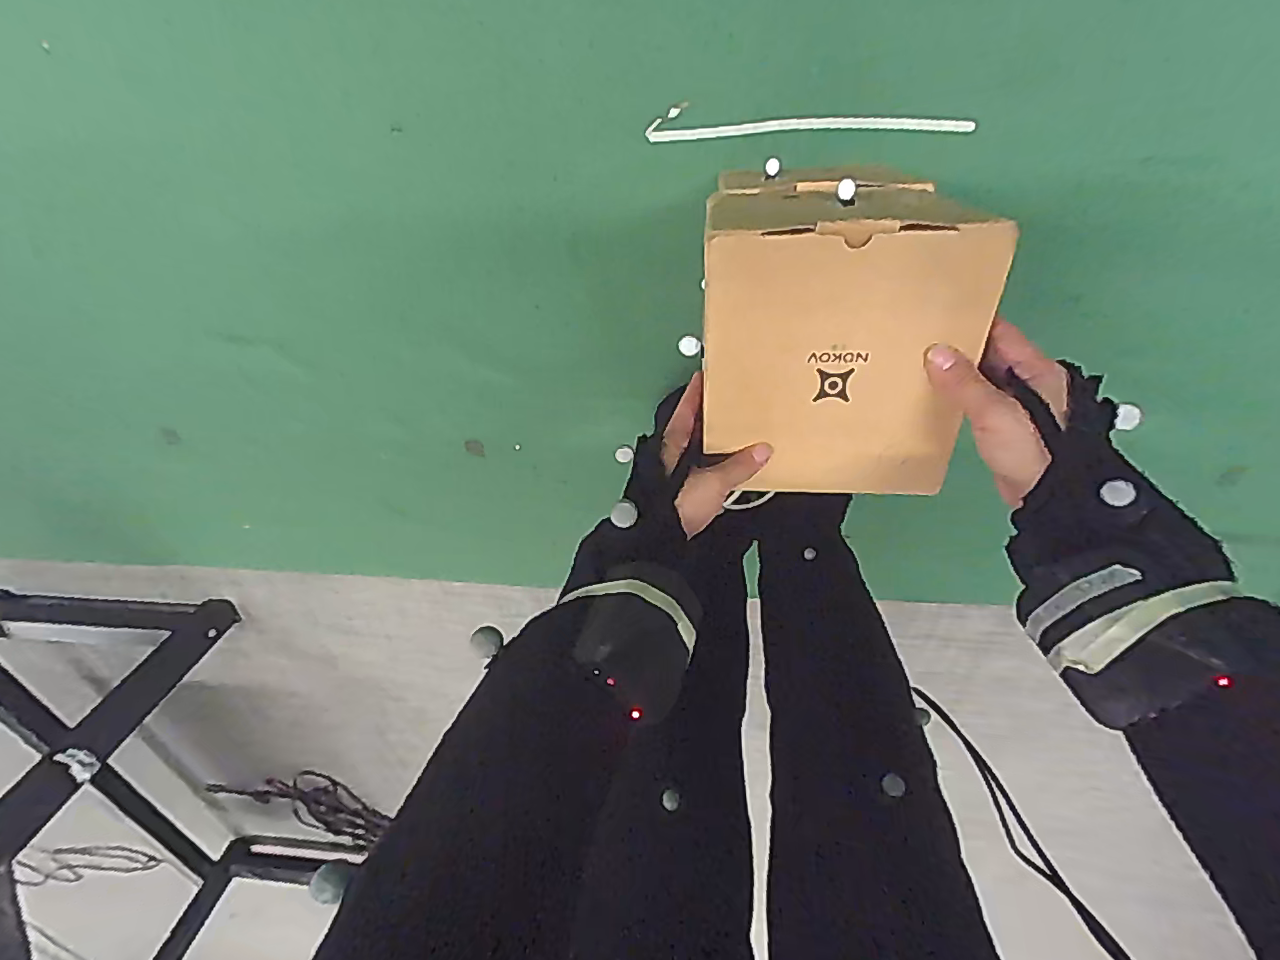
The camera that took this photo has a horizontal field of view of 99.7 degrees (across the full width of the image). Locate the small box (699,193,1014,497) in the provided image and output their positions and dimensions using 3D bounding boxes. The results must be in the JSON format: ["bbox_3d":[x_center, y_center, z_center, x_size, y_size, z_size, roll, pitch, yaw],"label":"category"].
[{"bbox_3d":[0.132,-0.107,0.407,0.168,0.176,0.179,1,123,7],"label":"small box"}]

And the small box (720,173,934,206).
[{"bbox_3d":[0.161,-0.201,0.539,0.168,0.176,0.179,2,125,8],"label":"small box"}]
